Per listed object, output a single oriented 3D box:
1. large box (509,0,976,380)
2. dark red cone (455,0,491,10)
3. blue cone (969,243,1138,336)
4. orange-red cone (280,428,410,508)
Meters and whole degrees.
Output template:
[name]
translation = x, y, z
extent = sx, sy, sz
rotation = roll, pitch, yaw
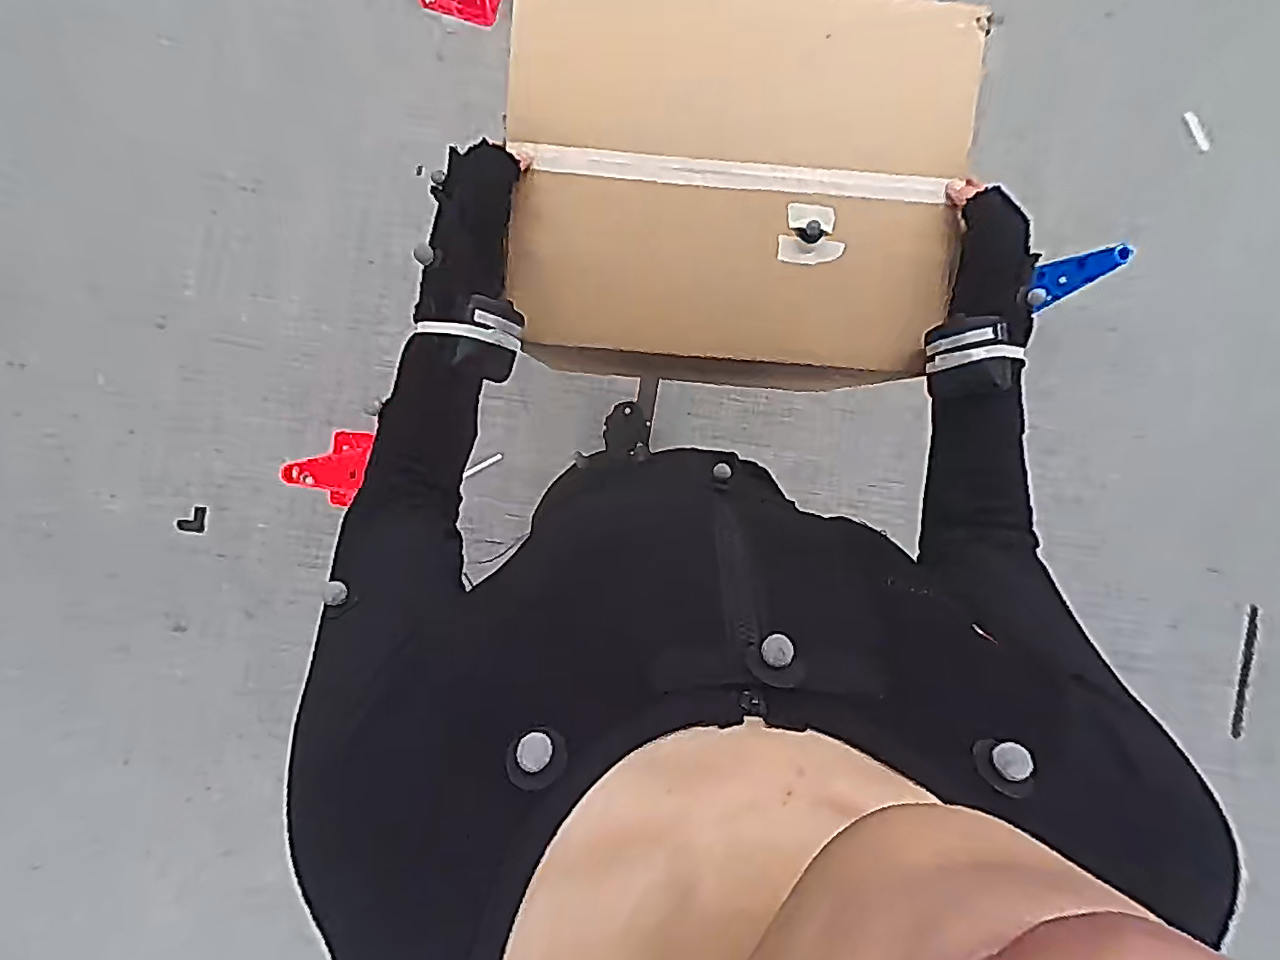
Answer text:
[large box]
translation = 0.080, -0.293, 0.625
extent = 0.408, 0.320, 0.320
rotation = 4, 97, -3
[dark red cone]
translation = -0.442, -1.294, 1.194
extent = 0.201, 0.394, 0.202
rotation = 14, 92, -4
[blue cone]
translation = 1.019, -0.496, 1.331
extent = 0.192, 0.380, 0.193
rotation = 12, 92, -4
[orange-red cone]
translation = -0.705, -0.021, 1.254
extent = 0.198, 0.360, 0.199
rotation = 6, 93, -2
